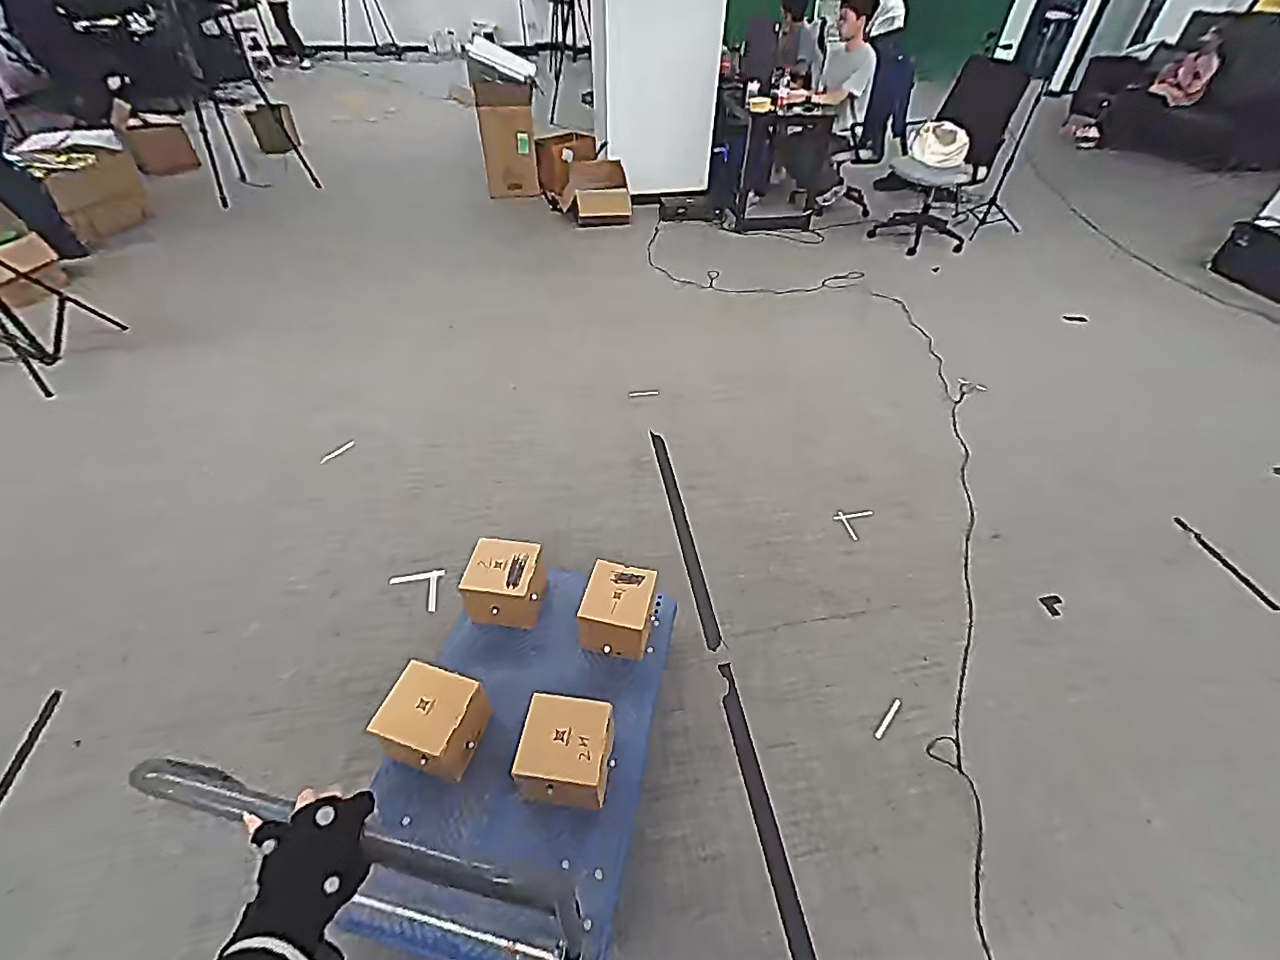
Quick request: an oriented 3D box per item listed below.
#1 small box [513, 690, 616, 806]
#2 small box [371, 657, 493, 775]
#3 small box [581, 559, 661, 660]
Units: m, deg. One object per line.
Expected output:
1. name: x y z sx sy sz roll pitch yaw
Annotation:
1. small box: -0.153 0.579 1.163 0.179 0.176 0.168 7 45 6
2. small box: -0.453 0.530 1.208 0.179 0.176 0.168 14 46 11
3. small box: -0.047 0.337 1.409 0.168 0.176 0.179 11 47 9
